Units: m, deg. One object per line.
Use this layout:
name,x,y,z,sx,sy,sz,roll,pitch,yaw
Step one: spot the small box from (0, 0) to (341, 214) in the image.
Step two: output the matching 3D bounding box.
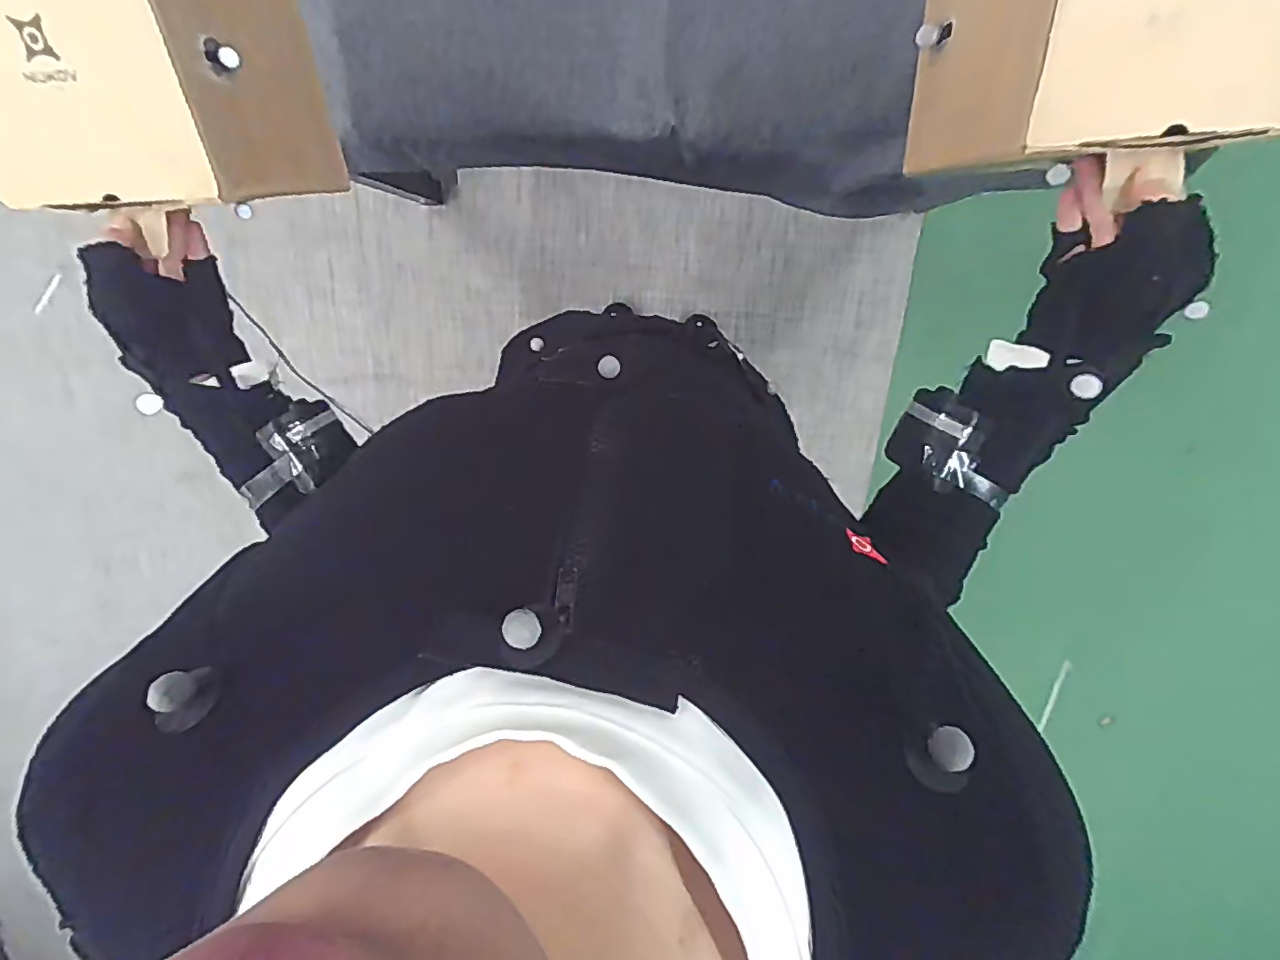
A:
small box,-0.355,-0.299,0.391,0.168,0.176,0.179,-1,120,4
